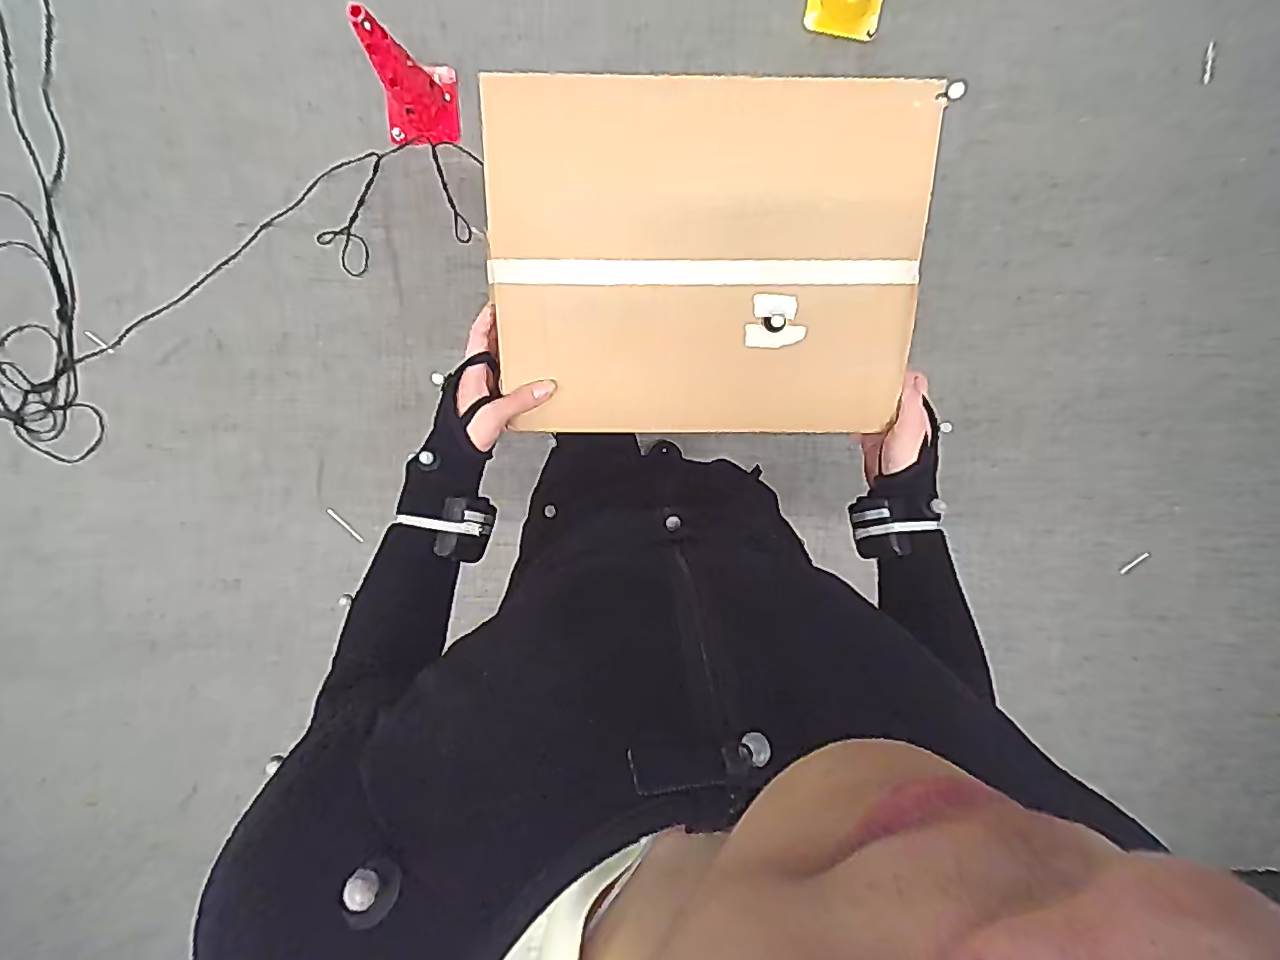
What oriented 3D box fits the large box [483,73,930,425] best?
[{"bbox_3d":[0.056,-0.253,0.661,0.408,0.320,0.320,-1,109,-2],"label":"large box"}]
